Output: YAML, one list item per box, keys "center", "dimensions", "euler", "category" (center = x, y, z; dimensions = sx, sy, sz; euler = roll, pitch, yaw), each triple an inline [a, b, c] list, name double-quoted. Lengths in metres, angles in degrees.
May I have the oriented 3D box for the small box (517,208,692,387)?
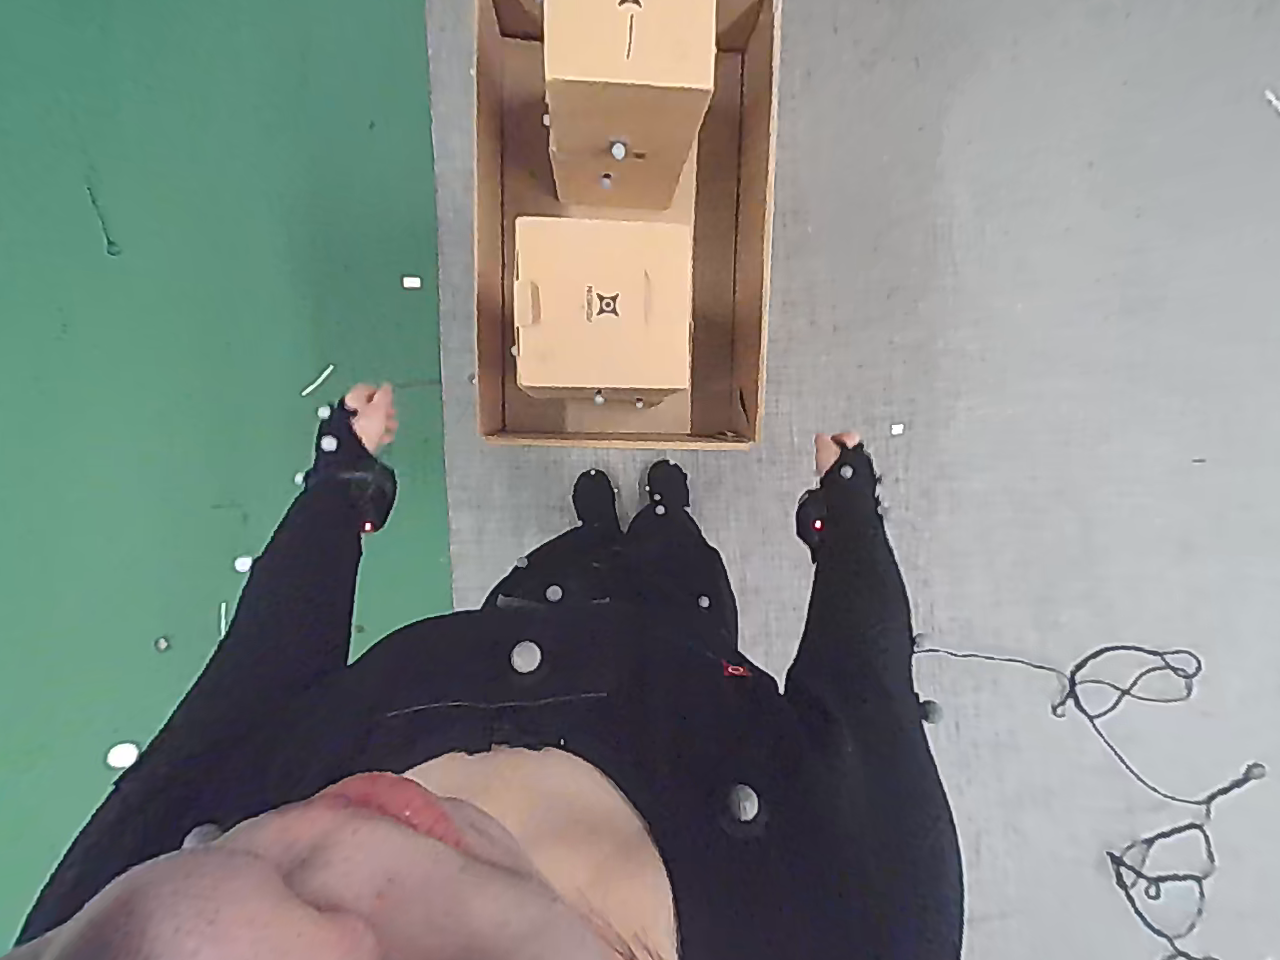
- center: [-0.042, -0.195, 0.624]
  dimensions: [0.179, 0.176, 0.168]
  euler: [-1, 97, -6]
  category: "small box"

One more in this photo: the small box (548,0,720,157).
- center: [-0.012, -0.485, 0.586]
  dimensions: [0.168, 0.176, 0.179]
  euler: [0, 99, -5]
  category: "small box"

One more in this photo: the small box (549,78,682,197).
- center: [-0.028, -0.511, 0.748]
  dimensions: [0.179, 0.176, 0.168]
  euler: [1, 98, -3]
  category: "small box"
